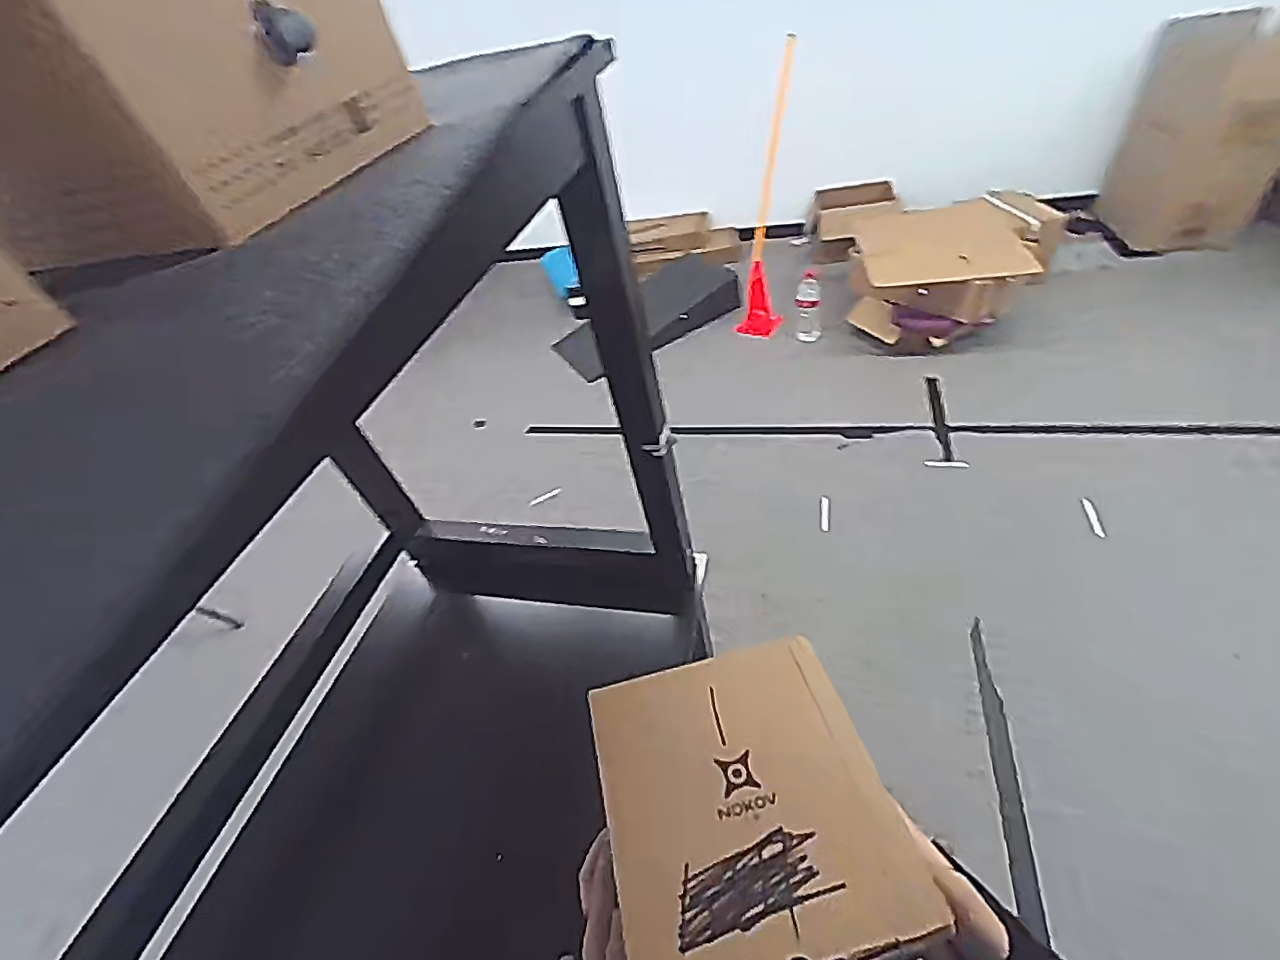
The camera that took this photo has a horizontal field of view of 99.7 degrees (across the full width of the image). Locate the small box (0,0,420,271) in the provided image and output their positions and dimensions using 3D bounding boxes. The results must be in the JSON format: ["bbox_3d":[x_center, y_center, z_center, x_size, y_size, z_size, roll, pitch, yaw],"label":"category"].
[{"bbox_3d":[-0.239,-0.206,0.235,0.179,0.176,0.168,2,48,18],"label":"small box"}]
